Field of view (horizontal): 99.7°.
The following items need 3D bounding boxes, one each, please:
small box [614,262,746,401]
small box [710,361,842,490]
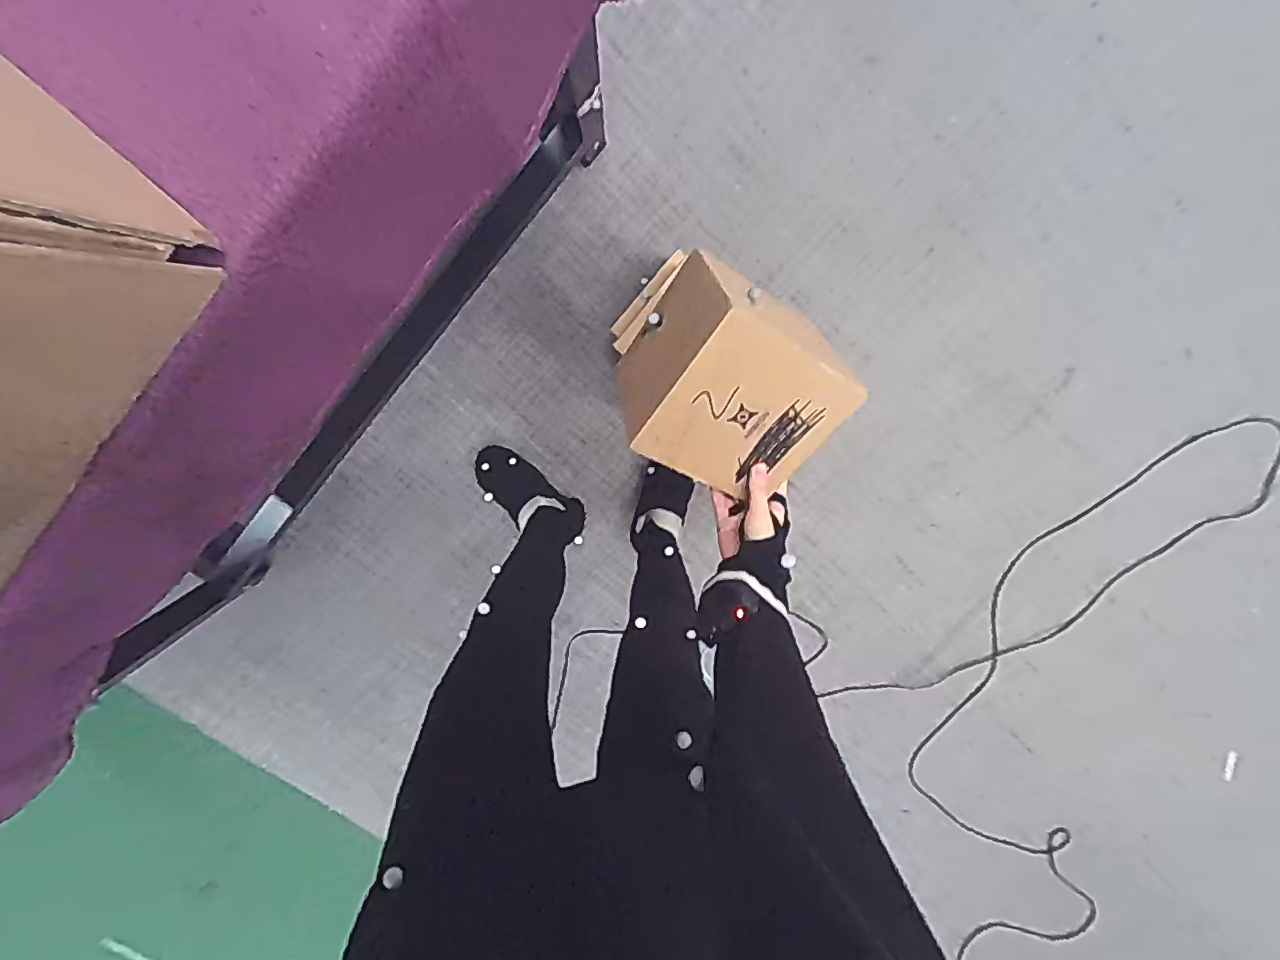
[{"bbox_3d":[0.066,-0.275,1.005,0.168,0.176,0.179,41,102,-12],"label":"small box"},{"bbox_3d":[0.252,-0.113,1.057,0.168,0.176,0.179,36,101,-10],"label":"small box"}]
